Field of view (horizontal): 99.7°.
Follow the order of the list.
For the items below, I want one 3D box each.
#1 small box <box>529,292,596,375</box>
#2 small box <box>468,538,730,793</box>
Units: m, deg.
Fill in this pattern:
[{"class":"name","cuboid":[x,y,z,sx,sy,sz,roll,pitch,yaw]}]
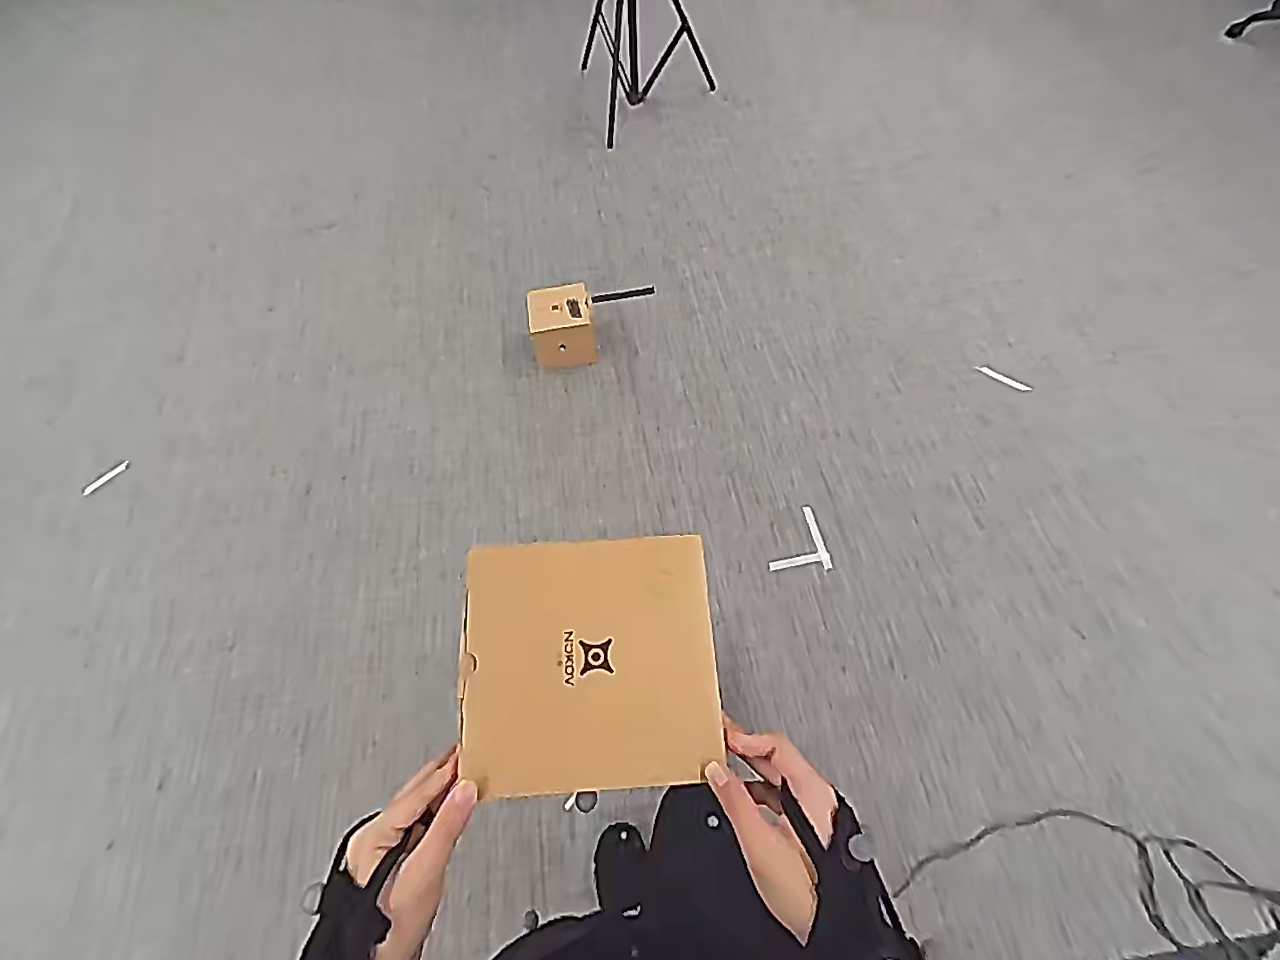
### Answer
[{"class":"small box","cuboid":[-0.231,-0.440,1.642,0.179,0.176,0.168,-9,63,-1]},{"class":"small box","cuboid":[-0.032,0.151,0.457,0.179,0.176,0.168,-4,69,-1]}]
